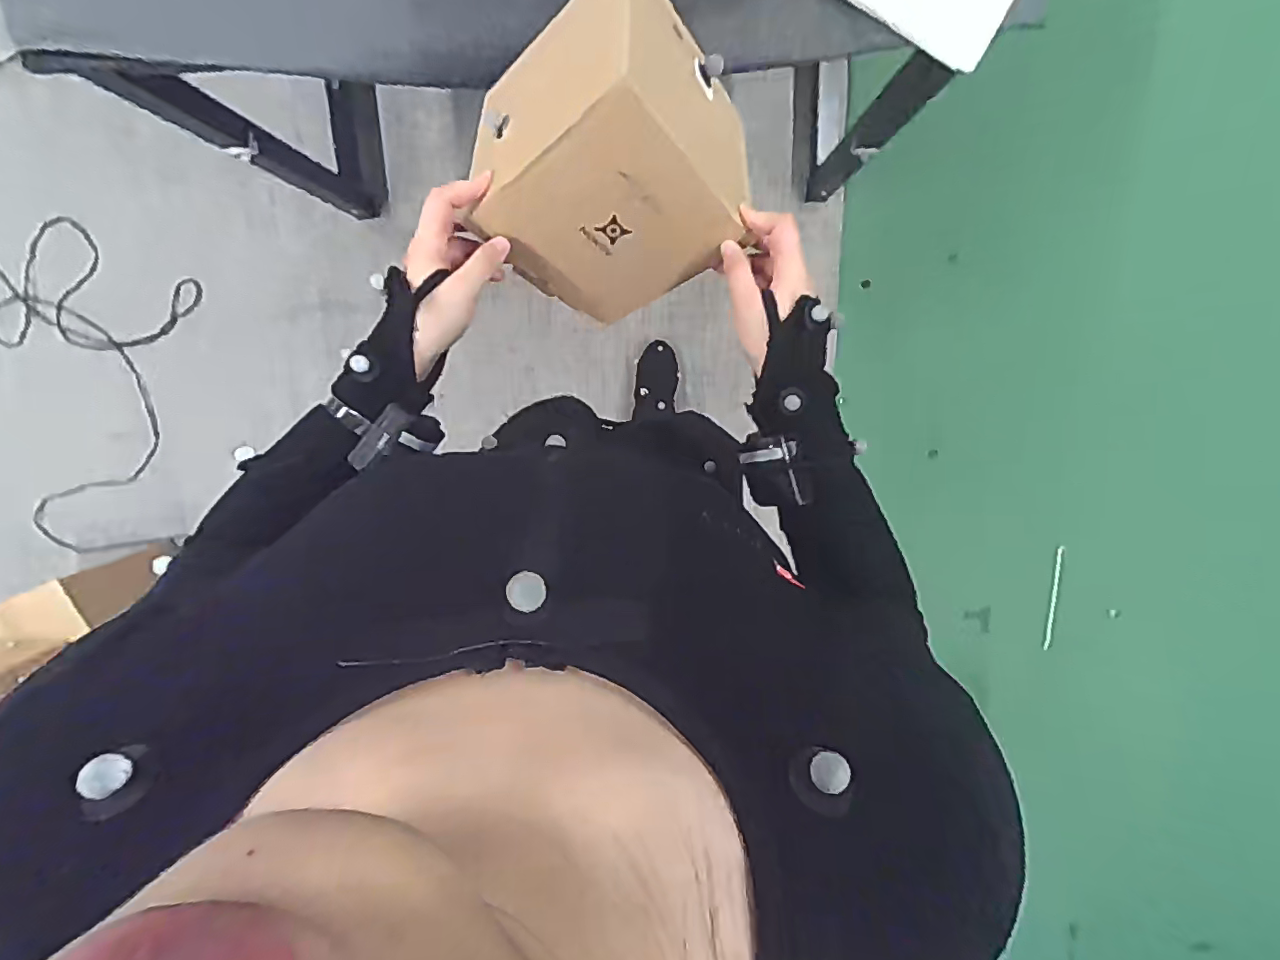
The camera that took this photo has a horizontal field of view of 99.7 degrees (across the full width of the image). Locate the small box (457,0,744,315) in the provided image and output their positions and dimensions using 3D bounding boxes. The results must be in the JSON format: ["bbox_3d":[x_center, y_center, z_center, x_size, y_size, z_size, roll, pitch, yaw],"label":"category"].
[{"bbox_3d":[-0.031,-0.285,0.467,0.179,0.168,0.176,-21,61,37],"label":"small box"}]
